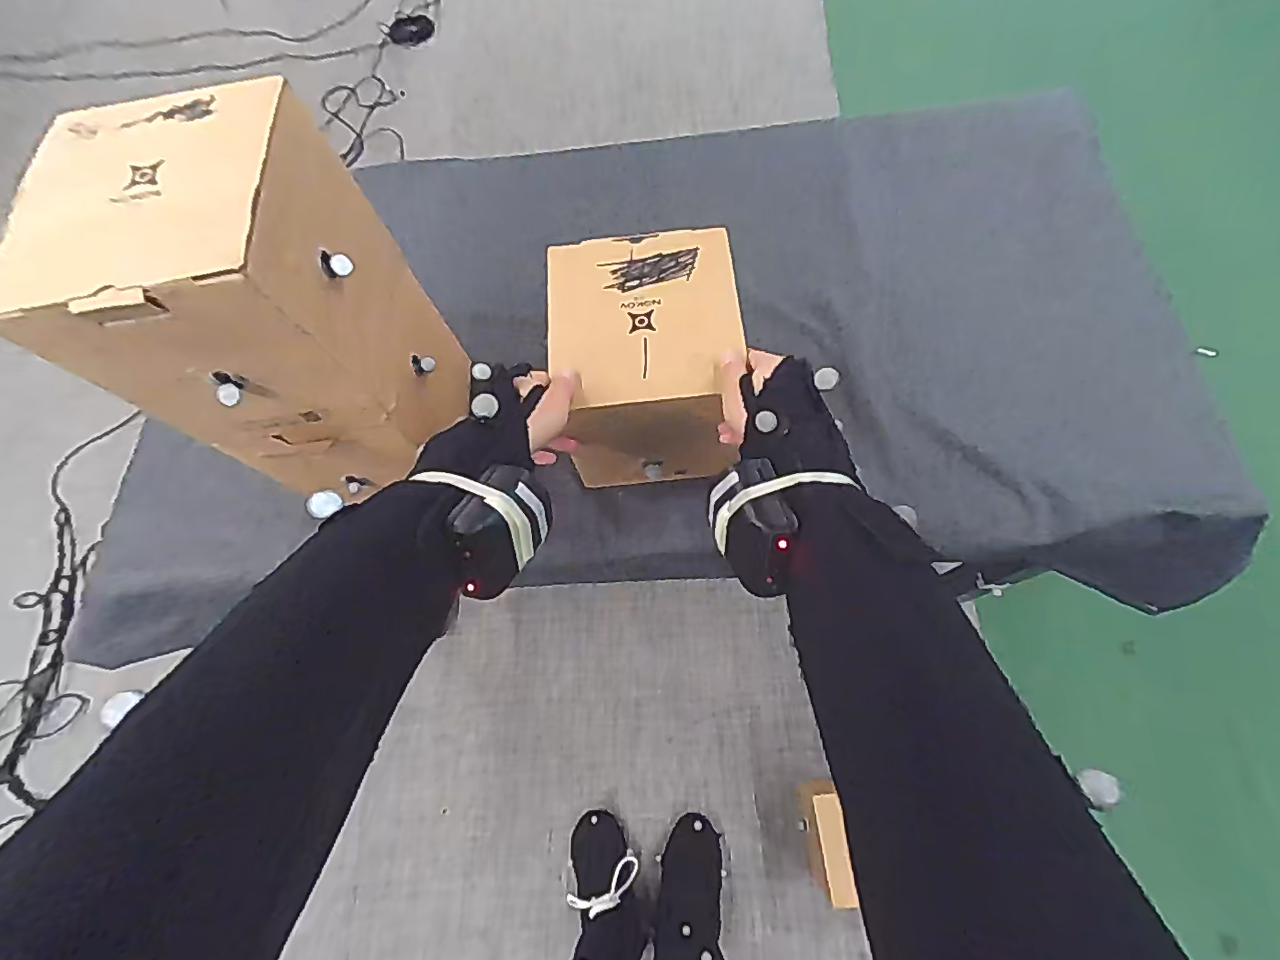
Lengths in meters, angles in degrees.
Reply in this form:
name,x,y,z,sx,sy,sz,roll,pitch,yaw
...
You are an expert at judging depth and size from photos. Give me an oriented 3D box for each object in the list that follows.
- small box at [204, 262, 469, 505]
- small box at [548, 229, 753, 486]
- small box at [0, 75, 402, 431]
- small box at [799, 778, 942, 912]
name,x,y,z,sx,sy,sz,roll,pitch,yaw
small box,-0.288,-0.090,0.558,0.168,0.176,0.179,-7,68,3
small box,0.010,-0.109,0.530,0.168,0.176,0.179,-6,67,4
small box,-0.299,-0.149,0.406,0.168,0.176,0.179,-8,68,2
small box,0.400,0.644,0.973,0.179,0.176,0.168,-8,66,3
